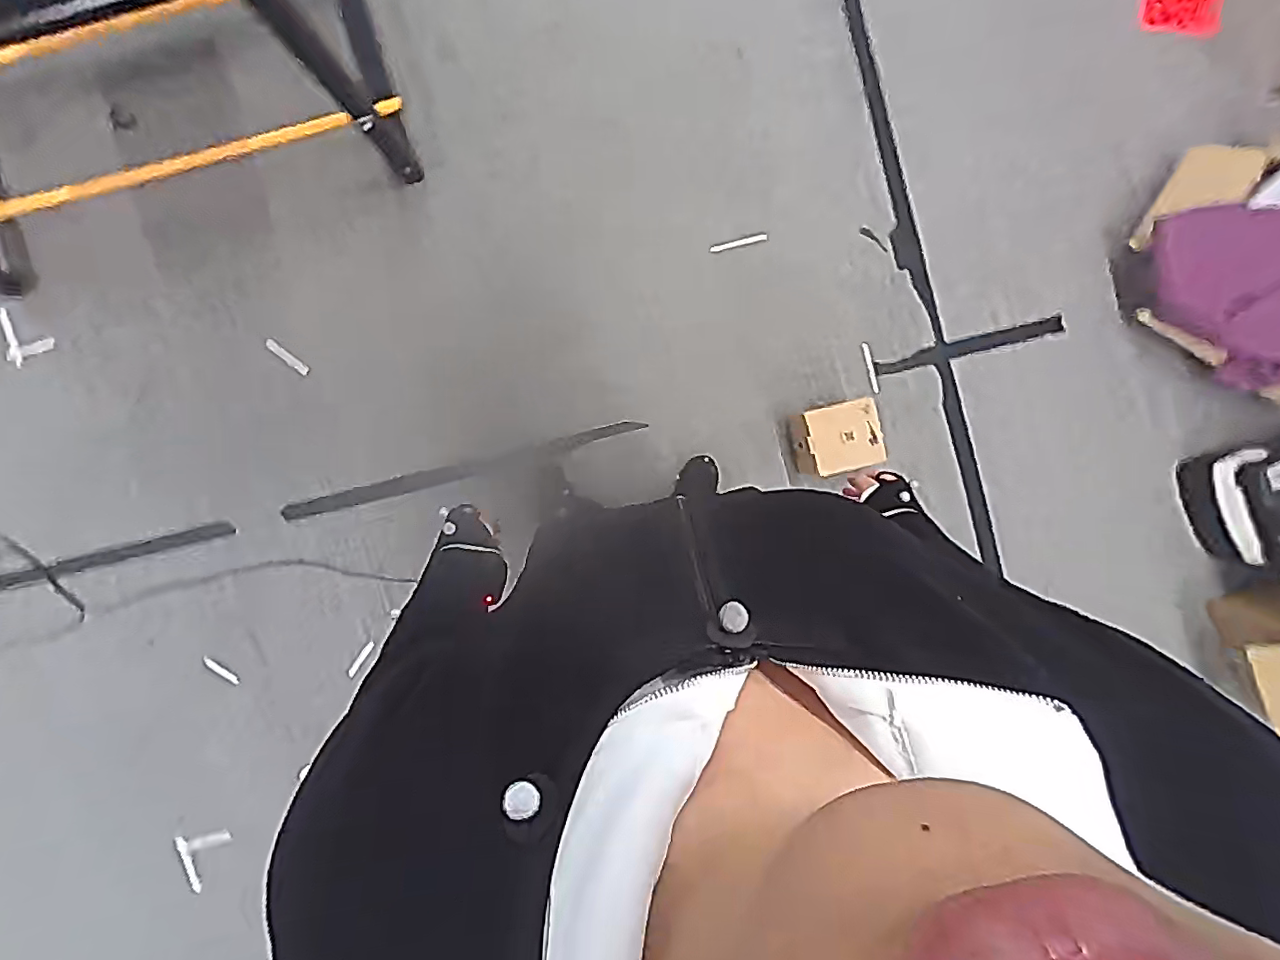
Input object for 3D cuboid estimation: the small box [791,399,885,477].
[{"bbox_3d":[0.506,-0.107,1.408,0.179,0.176,0.168,-13,93,2],"label":"small box"}]
